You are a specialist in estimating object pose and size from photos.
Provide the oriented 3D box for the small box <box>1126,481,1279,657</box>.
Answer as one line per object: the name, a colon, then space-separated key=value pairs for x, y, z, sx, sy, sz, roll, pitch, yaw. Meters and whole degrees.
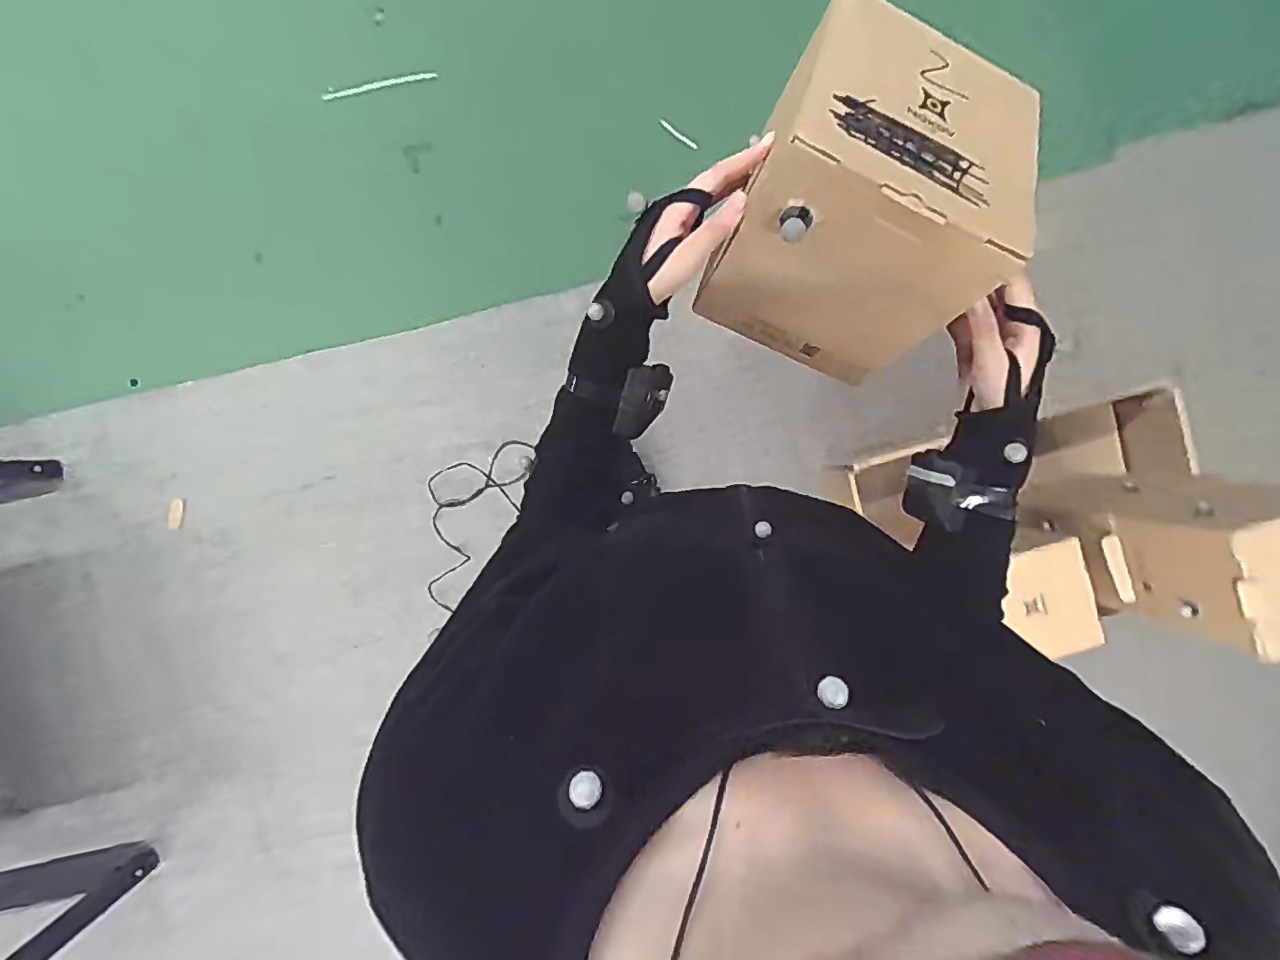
small box: x=0.792 y=0.104 z=0.706 sx=0.179 sy=0.176 sz=0.168 roll=-17 pitch=93 yaw=3

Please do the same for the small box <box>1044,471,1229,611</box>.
small box: x=0.797 y=0.089 z=0.868 sx=0.179 sy=0.176 sz=0.168 roll=-20 pitch=92 yaw=3

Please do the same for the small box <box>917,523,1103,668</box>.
small box: x=0.575 y=0.175 z=0.871 sx=0.179 sy=0.176 sz=0.168 roll=-16 pitch=92 yaw=0

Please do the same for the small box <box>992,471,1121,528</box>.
small box: x=0.812 y=0.086 z=1.032 sx=0.179 sy=0.176 sz=0.168 roll=-18 pitch=93 yaw=4
